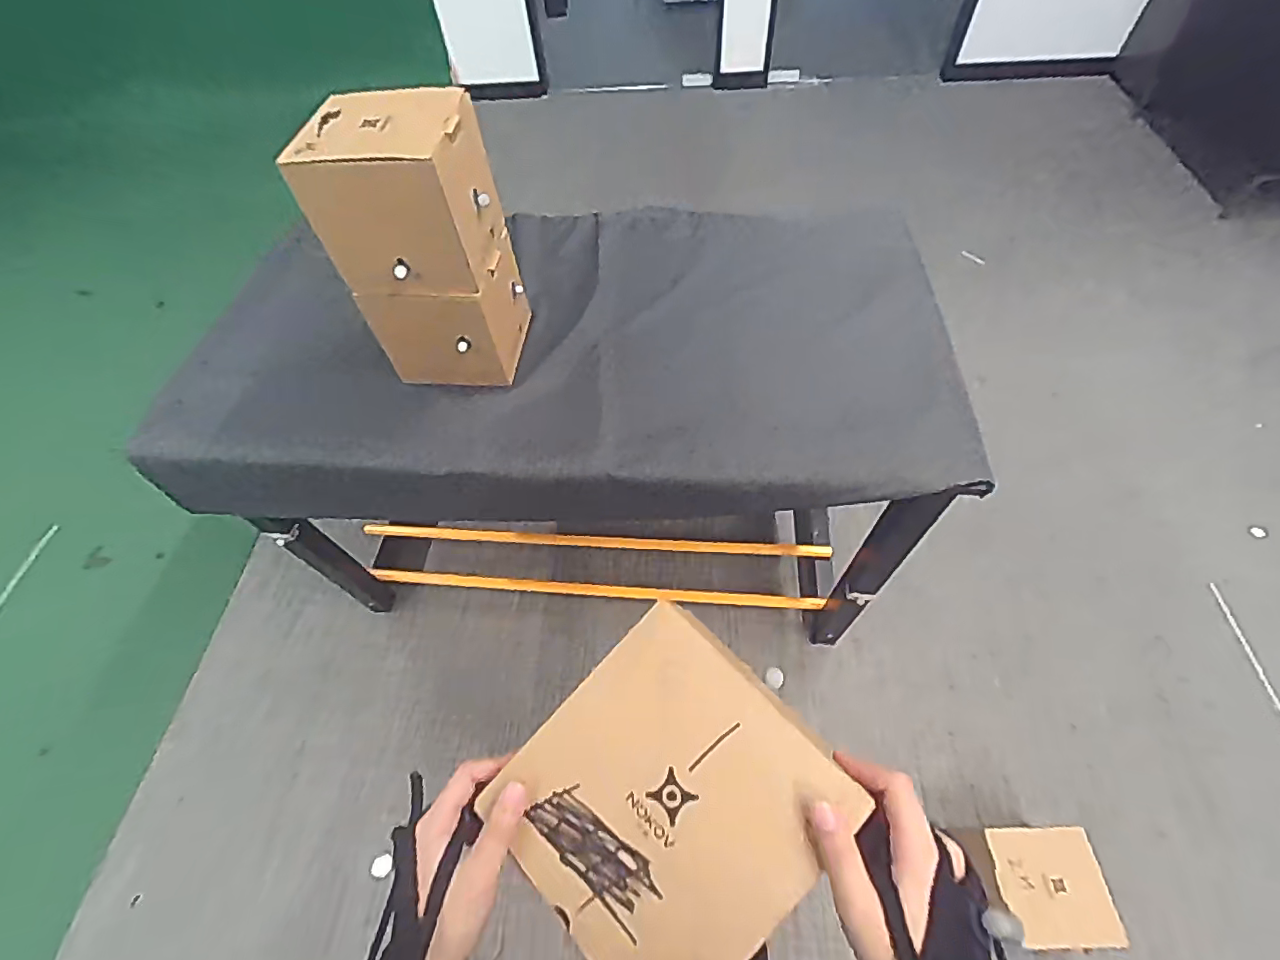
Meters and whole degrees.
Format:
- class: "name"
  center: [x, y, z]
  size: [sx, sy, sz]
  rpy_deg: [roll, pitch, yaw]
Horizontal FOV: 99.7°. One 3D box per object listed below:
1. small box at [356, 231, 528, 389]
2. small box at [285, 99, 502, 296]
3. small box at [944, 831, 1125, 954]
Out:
- class: "small box"
  center: [-0.280, -0.253, 0.817]
  size: [0.179, 0.176, 0.168]
  rpy_deg: [2, 55, 5]
- class: "small box"
  center: [-0.289, -0.351, 0.685]
  size: [0.179, 0.176, 0.168]
  rpy_deg: [2, 55, 4]
- class: "small box"
  center: [0.691, 0.732, 0.974]
  size: [0.179, 0.176, 0.168]
  rpy_deg: [-3, 55, 2]
